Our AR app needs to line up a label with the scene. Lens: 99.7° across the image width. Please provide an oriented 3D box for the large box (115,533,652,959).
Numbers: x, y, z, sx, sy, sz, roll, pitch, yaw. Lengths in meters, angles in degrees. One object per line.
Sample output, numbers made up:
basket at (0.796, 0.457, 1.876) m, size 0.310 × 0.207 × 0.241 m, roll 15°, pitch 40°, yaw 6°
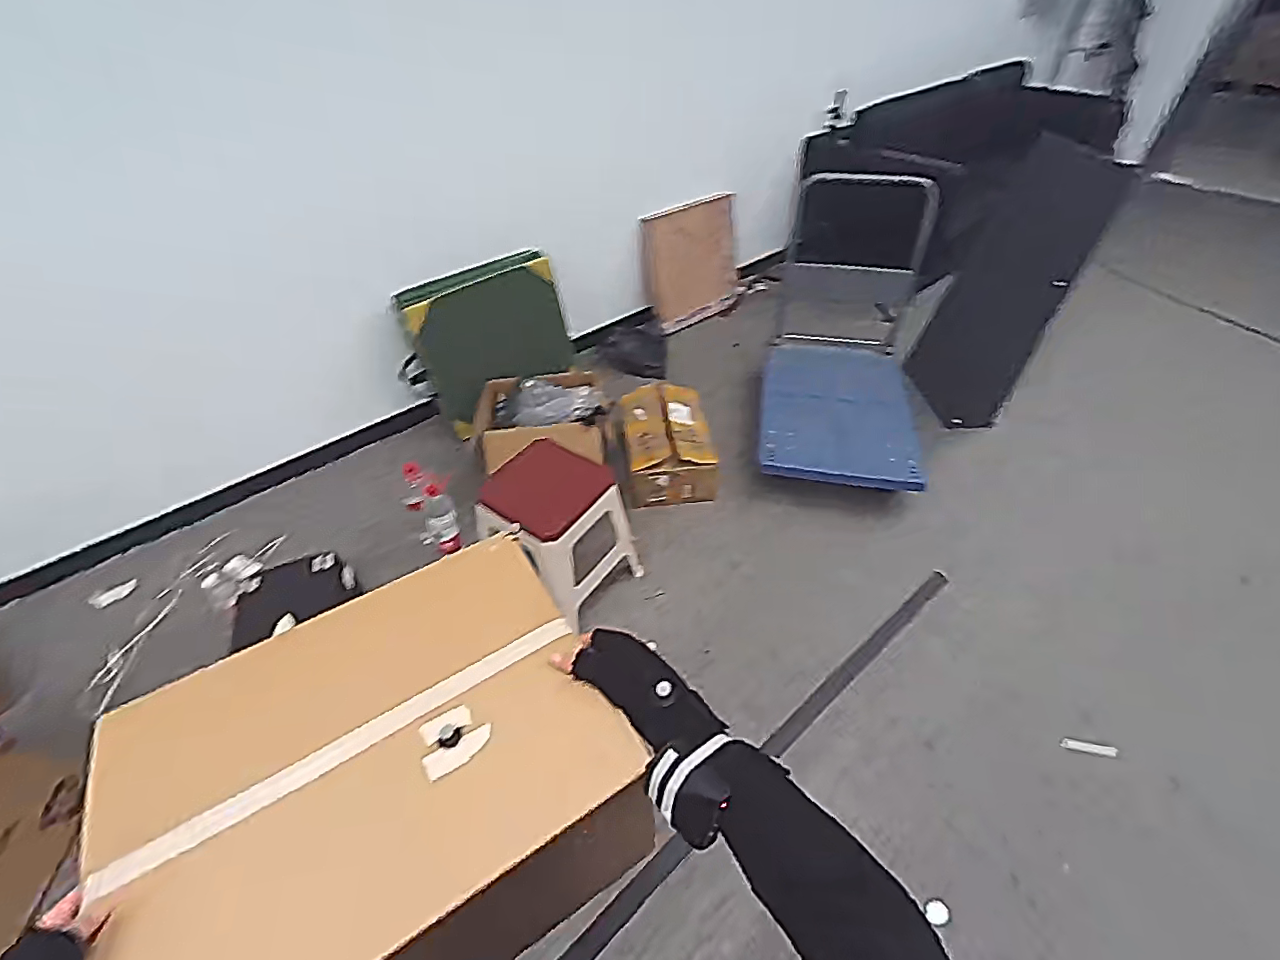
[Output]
large box at (-0.233, 0.335, 0.596) m, size 0.408 × 0.320 × 0.320 m, roll -24°, pitch 49°, yaw -21°
